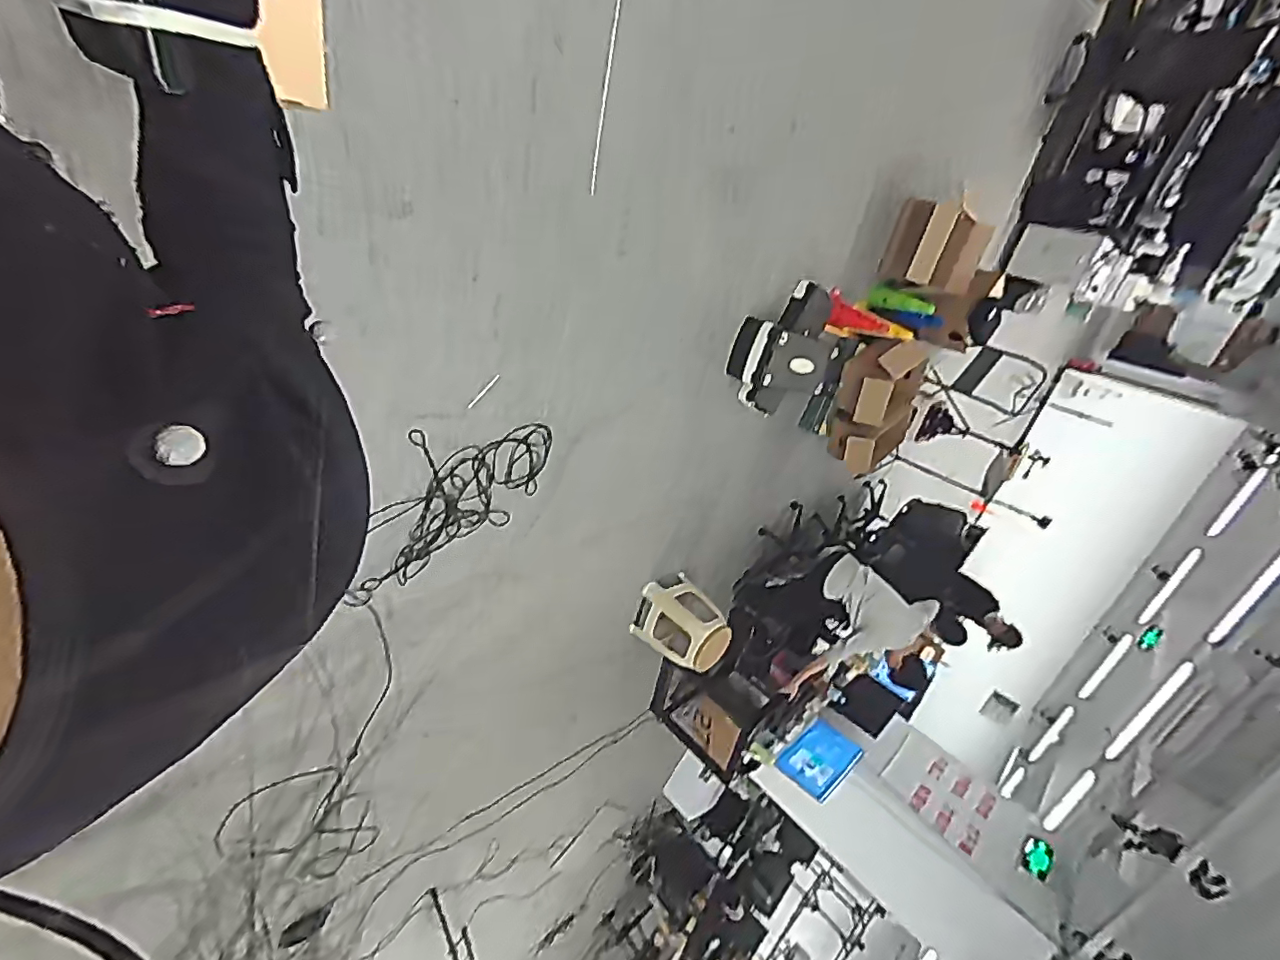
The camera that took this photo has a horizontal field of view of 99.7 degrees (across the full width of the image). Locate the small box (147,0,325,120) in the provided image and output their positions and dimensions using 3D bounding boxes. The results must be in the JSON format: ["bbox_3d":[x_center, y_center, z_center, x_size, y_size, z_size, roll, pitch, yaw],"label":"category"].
[{"bbox_3d":[-0.545,-0.610,0.727,0.168,0.176,0.179,-14,126,-42],"label":"small box"}]

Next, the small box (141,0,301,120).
[{"bbox_3d":[-0.646,-0.678,0.835,0.168,0.176,0.179,-17,127,-41],"label":"small box"}]
